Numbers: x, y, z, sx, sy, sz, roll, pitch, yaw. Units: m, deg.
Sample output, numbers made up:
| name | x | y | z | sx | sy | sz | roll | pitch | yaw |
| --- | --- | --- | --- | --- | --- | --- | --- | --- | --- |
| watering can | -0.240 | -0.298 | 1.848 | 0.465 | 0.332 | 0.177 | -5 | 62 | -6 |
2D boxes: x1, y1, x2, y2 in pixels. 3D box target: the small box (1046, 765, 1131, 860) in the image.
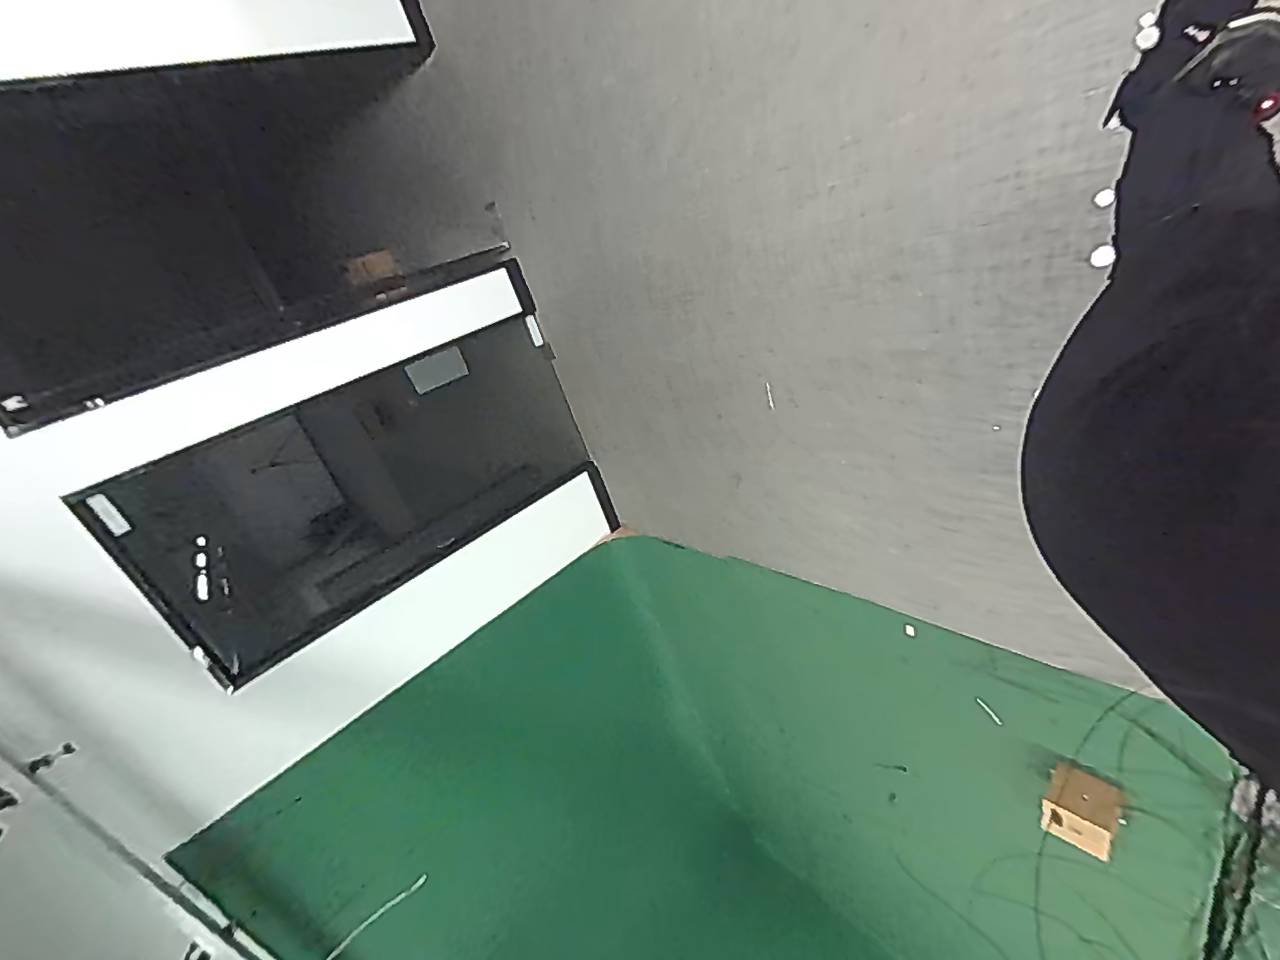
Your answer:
| name | x | y | z | sx | sy | sz | roll | pitch | yaw |
| --- | --- | --- | --- | --- | --- | --- | --- | --- | --- |
| small box | 1.468 | 1.076 | 1.771 | 0.179 | 0.176 | 0.168 | 14 | 131 | 49 |
